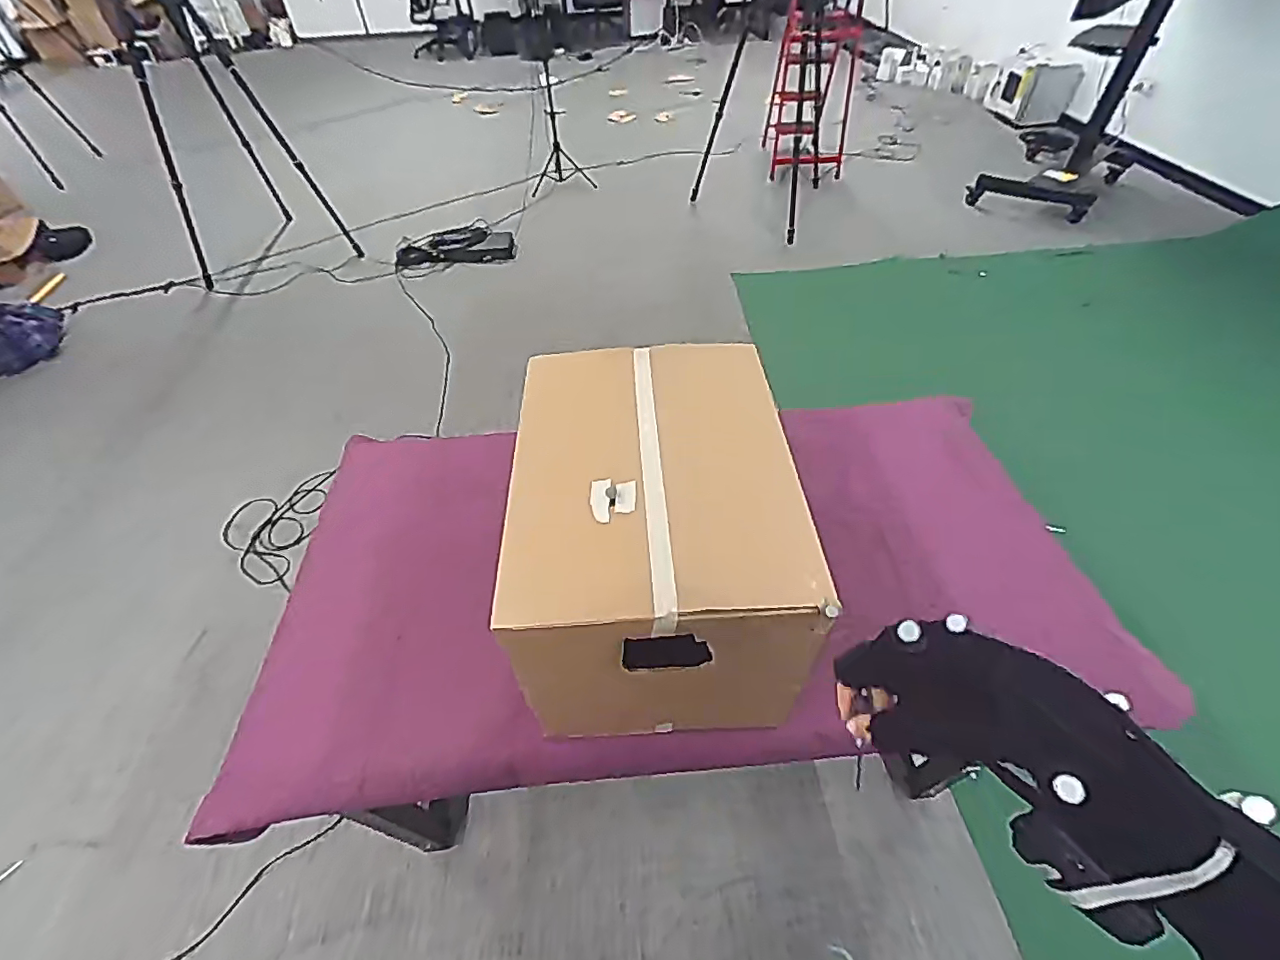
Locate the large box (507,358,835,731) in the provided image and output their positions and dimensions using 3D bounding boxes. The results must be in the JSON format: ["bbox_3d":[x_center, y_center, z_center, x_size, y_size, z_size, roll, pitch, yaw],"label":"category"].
[{"bbox_3d":[0.020,0.081,0.737,0.320,0.320,0.408,-3,49,0],"label":"large box"}]
